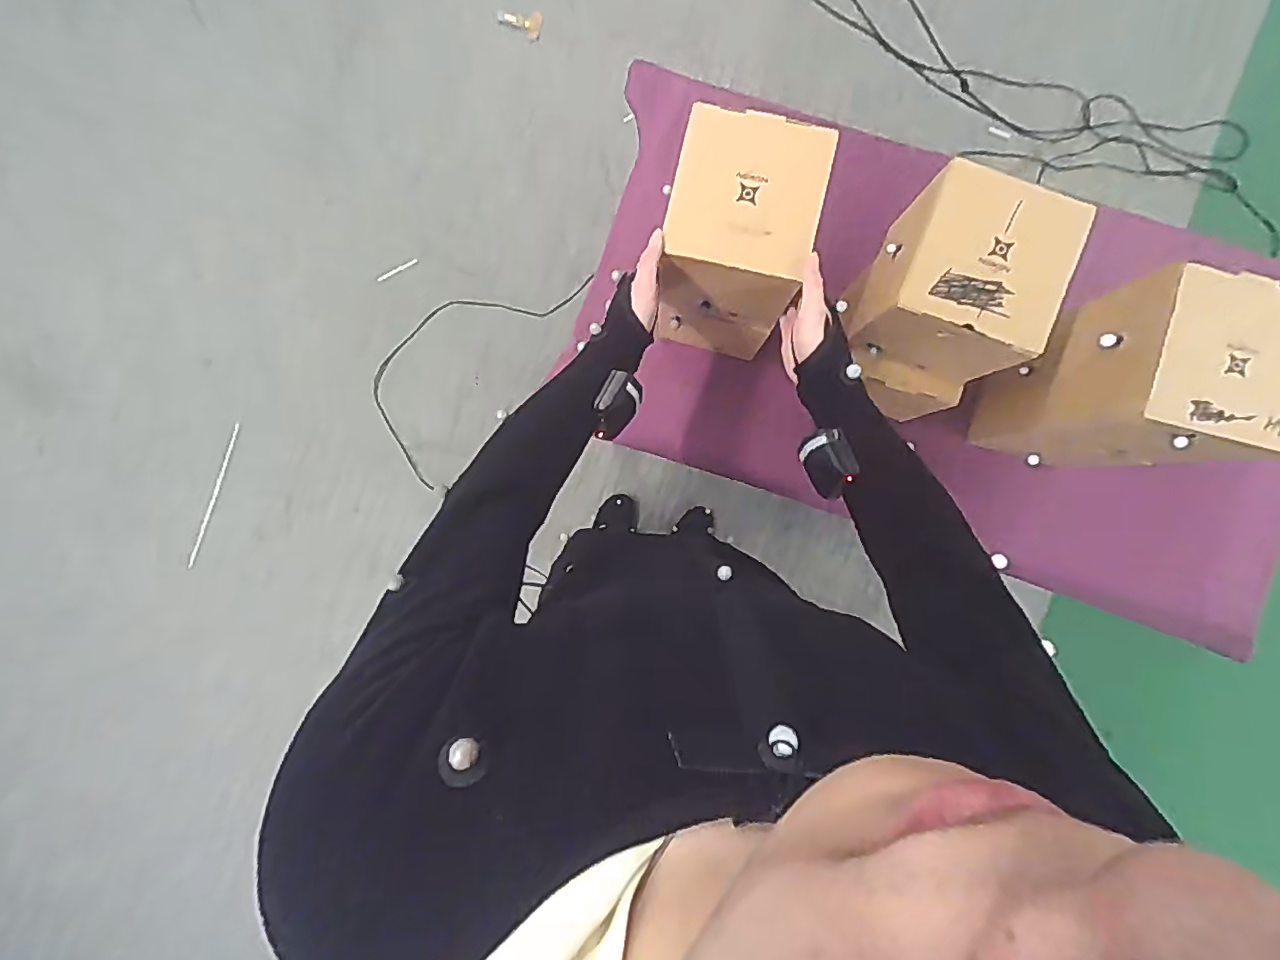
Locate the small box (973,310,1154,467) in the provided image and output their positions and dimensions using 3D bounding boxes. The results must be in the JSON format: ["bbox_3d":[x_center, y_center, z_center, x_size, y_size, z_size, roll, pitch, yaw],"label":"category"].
[{"bbox_3d":[0.639,-0.125,0.809,0.168,0.176,0.179,16,89,3],"label":"small box"}]

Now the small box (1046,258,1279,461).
[{"bbox_3d":[0.635,-0.129,0.646,0.168,0.176,0.179,15,89,3],"label":"small box"}]

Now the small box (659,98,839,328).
[{"bbox_3d":[0.119,-0.309,0.659,0.168,0.176,0.179,13,88,3],"label":"small box"}]

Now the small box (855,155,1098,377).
[{"bbox_3d":[0.386,-0.242,0.659,0.168,0.176,0.179,21,90,3],"label":"small box"}]

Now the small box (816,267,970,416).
[{"bbox_3d":[0.388,-0.209,0.822,0.168,0.176,0.179,17,90,2],"label":"small box"}]
